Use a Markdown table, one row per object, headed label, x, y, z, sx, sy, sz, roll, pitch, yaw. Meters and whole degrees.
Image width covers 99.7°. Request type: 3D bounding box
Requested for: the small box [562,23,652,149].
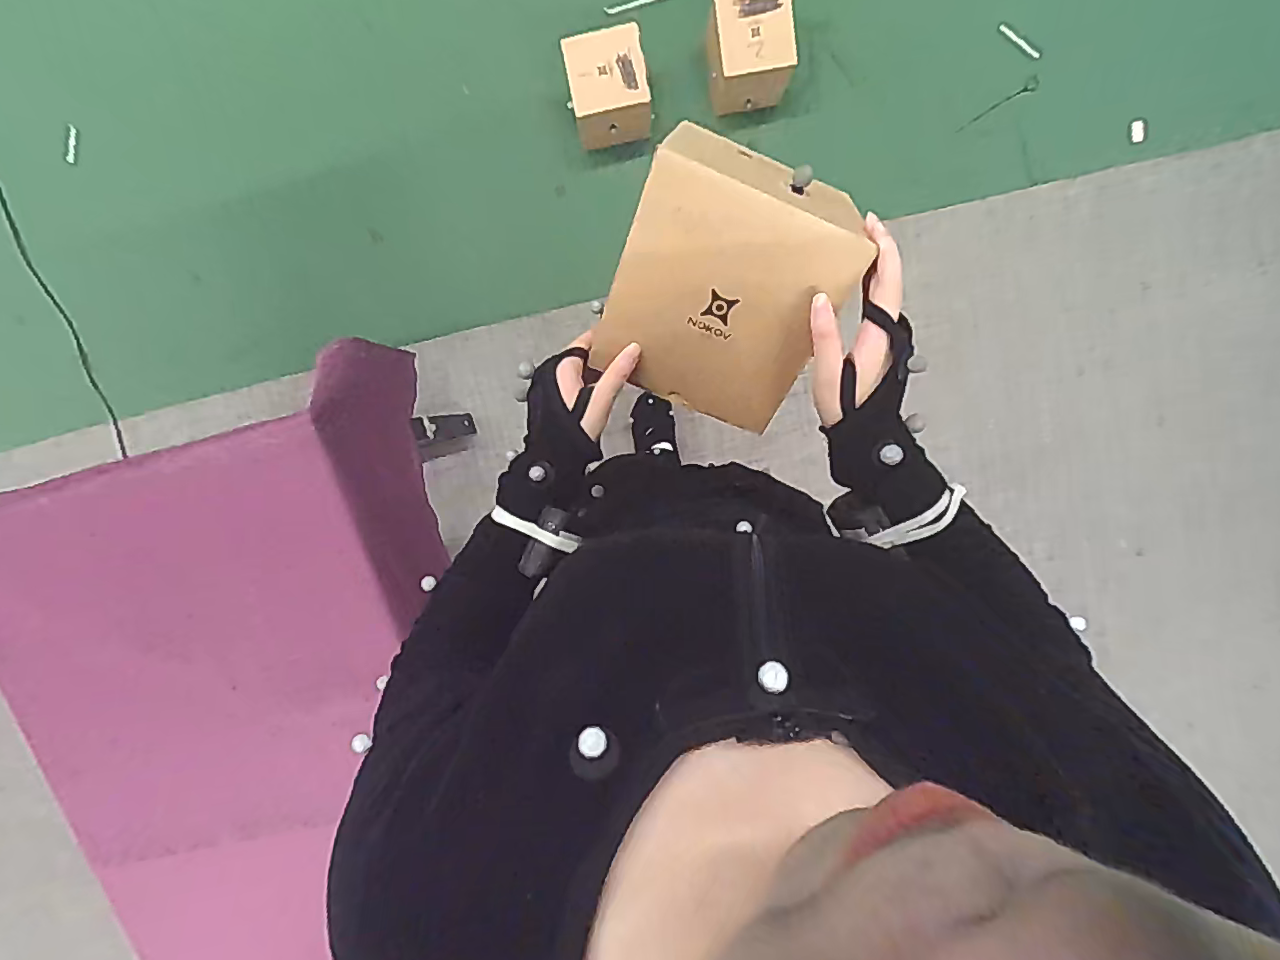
| label | x | y | z | sx | sy | sz | roll | pitch | yaw |
| --- | --- | --- | --- | --- | --- | --- | --- | --- | --- |
| small box | -0.072 | -0.919 | 1.277 | 0.179 | 0.176 | 0.168 | -11 | 98 | 4 |
